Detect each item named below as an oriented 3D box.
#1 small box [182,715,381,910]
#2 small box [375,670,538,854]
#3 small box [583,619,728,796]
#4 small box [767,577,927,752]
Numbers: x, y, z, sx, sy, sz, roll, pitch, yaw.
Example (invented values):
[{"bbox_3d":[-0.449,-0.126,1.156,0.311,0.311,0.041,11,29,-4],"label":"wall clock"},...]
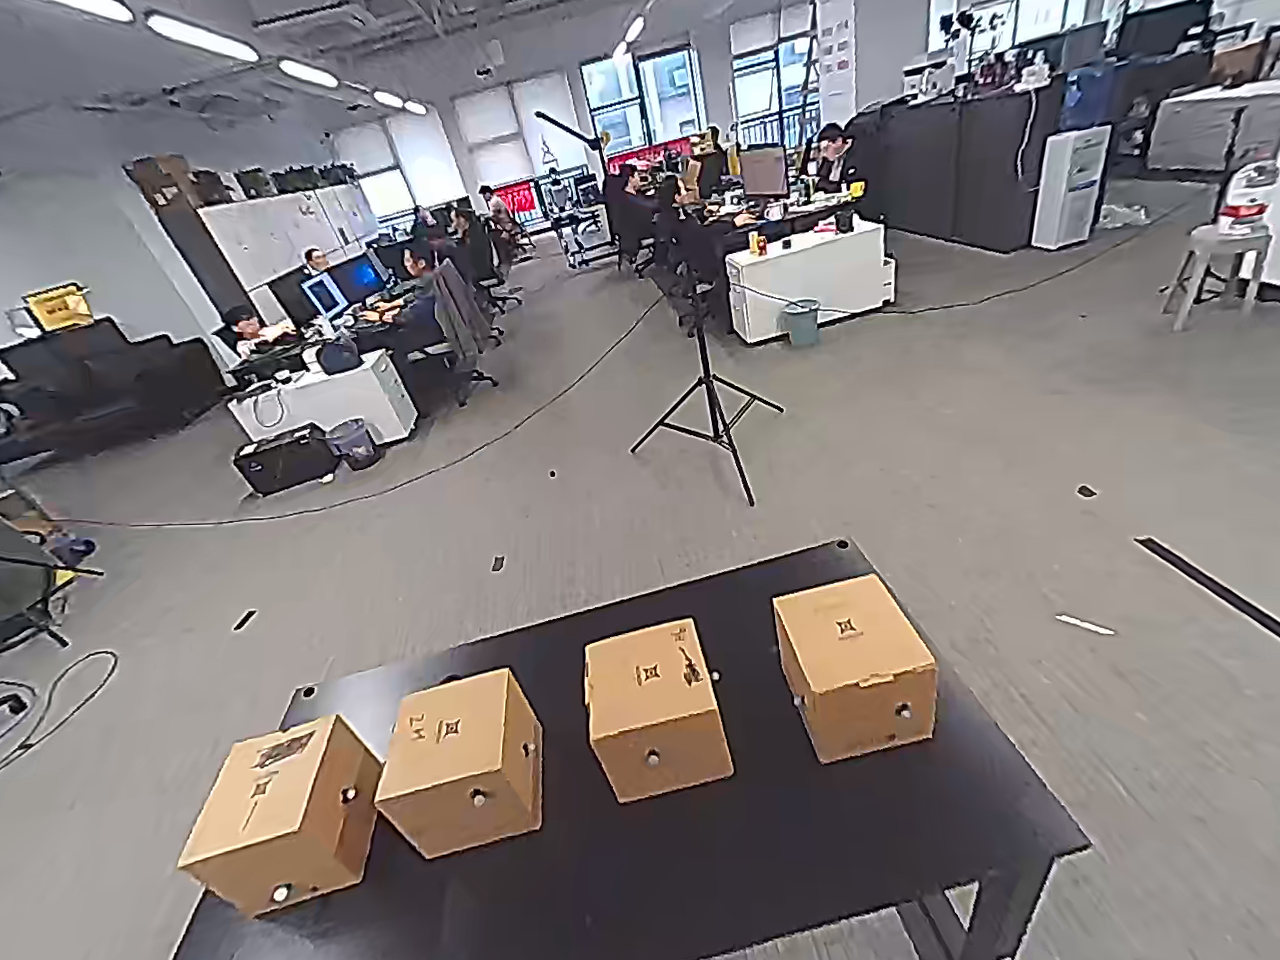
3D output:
[{"bbox_3d":[-0.518,0.499,0.819,0.168,0.176,0.179,-17,33,-2],"label":"small box"},{"bbox_3d":[-0.261,0.426,0.822,0.179,0.176,0.168,-16,32,-1],"label":"small box"},{"bbox_3d":[0.022,0.348,0.826,0.179,0.176,0.168,-15,32,1],"label":"small box"},{"bbox_3d":[0.304,0.281,0.811,0.168,0.176,0.179,-14,31,1],"label":"small box"}]
